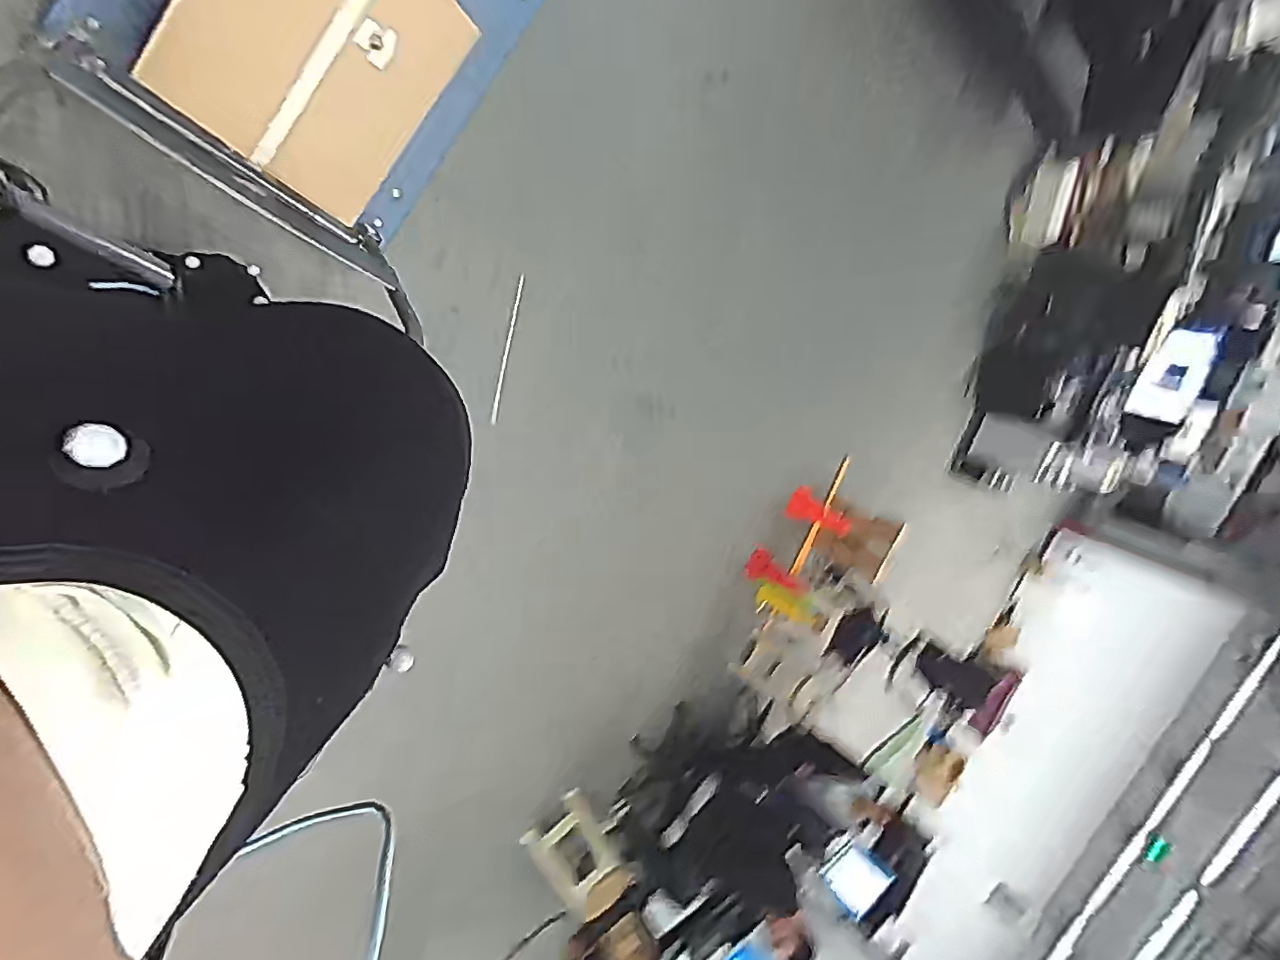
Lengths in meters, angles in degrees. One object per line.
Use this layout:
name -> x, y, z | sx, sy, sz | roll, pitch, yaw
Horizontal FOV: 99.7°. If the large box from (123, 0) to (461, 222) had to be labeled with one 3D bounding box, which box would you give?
large box -> -0.586, -0.740, 0.929 | 0.408, 0.320, 0.320 | -51, 139, 7
